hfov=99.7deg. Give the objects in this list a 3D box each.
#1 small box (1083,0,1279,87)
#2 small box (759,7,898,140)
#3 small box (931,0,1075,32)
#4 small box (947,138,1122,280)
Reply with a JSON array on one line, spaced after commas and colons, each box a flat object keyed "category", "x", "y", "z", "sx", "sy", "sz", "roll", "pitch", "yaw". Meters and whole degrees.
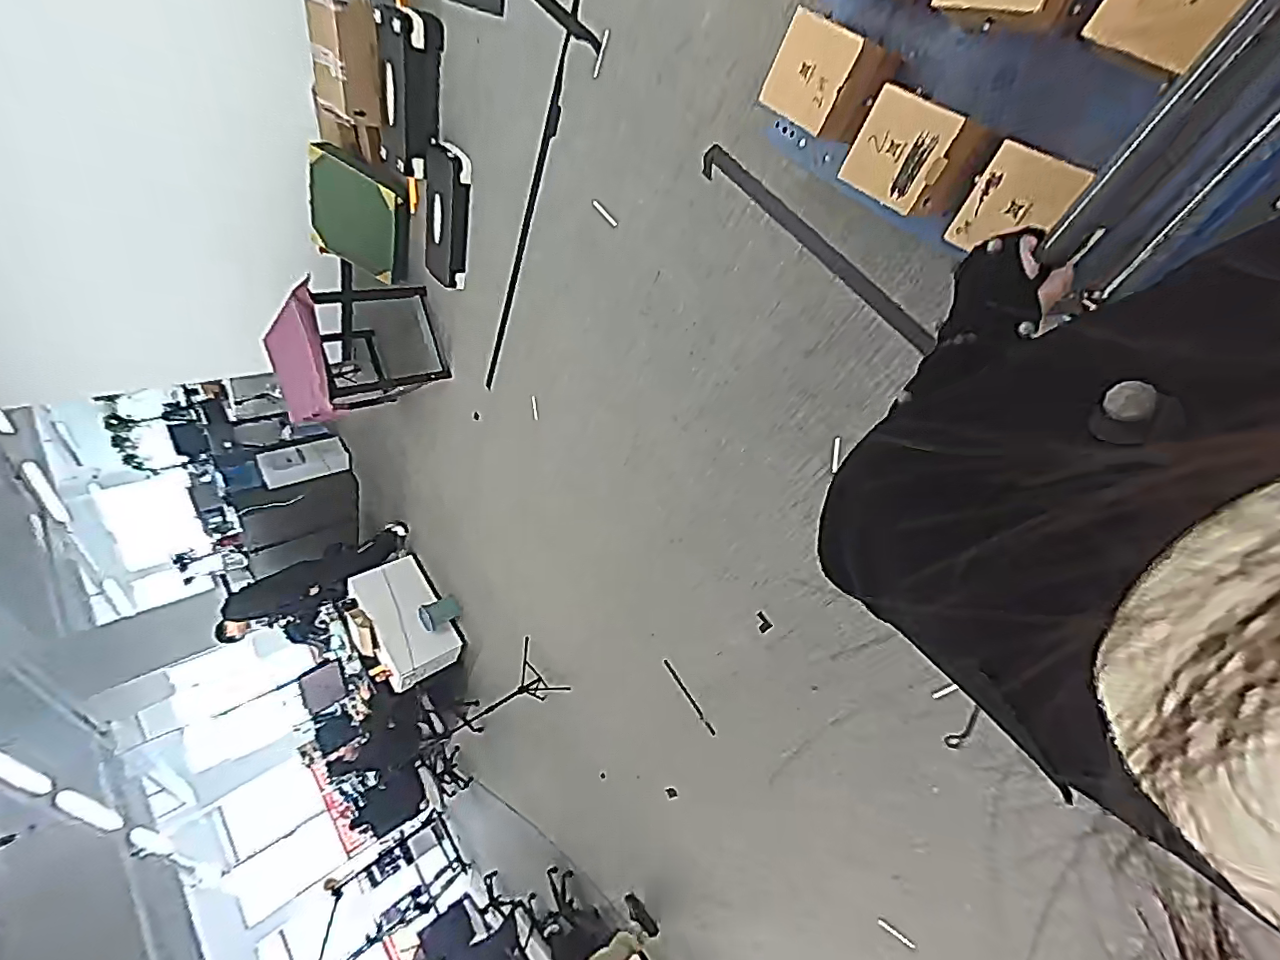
[{"category": "small box", "x": 0.784, "y": -0.680, "z": 0.755, "sx": 0.179, "sy": 0.176, "sz": 0.168, "roll": 48, "pitch": 136, "yaw": 23}, {"category": "small box", "x": 0.389, "y": -0.830, "z": 1.120, "sx": 0.179, "sy": 0.176, "sz": 0.168, "roll": 47, "pitch": 136, "yaw": 21}, {"category": "small box", "x": 0.617, "y": -0.843, "z": 0.864, "sx": 0.179, "sy": 0.176, "sz": 0.168, "roll": 38, "pitch": 132, "yaw": 32}, {"category": "small box", "x": 0.693, "y": -0.473, "z": 0.950, "sx": 0.179, "sy": 0.176, "sz": 0.168, "roll": 44, "pitch": 134, "yaw": 25}]
